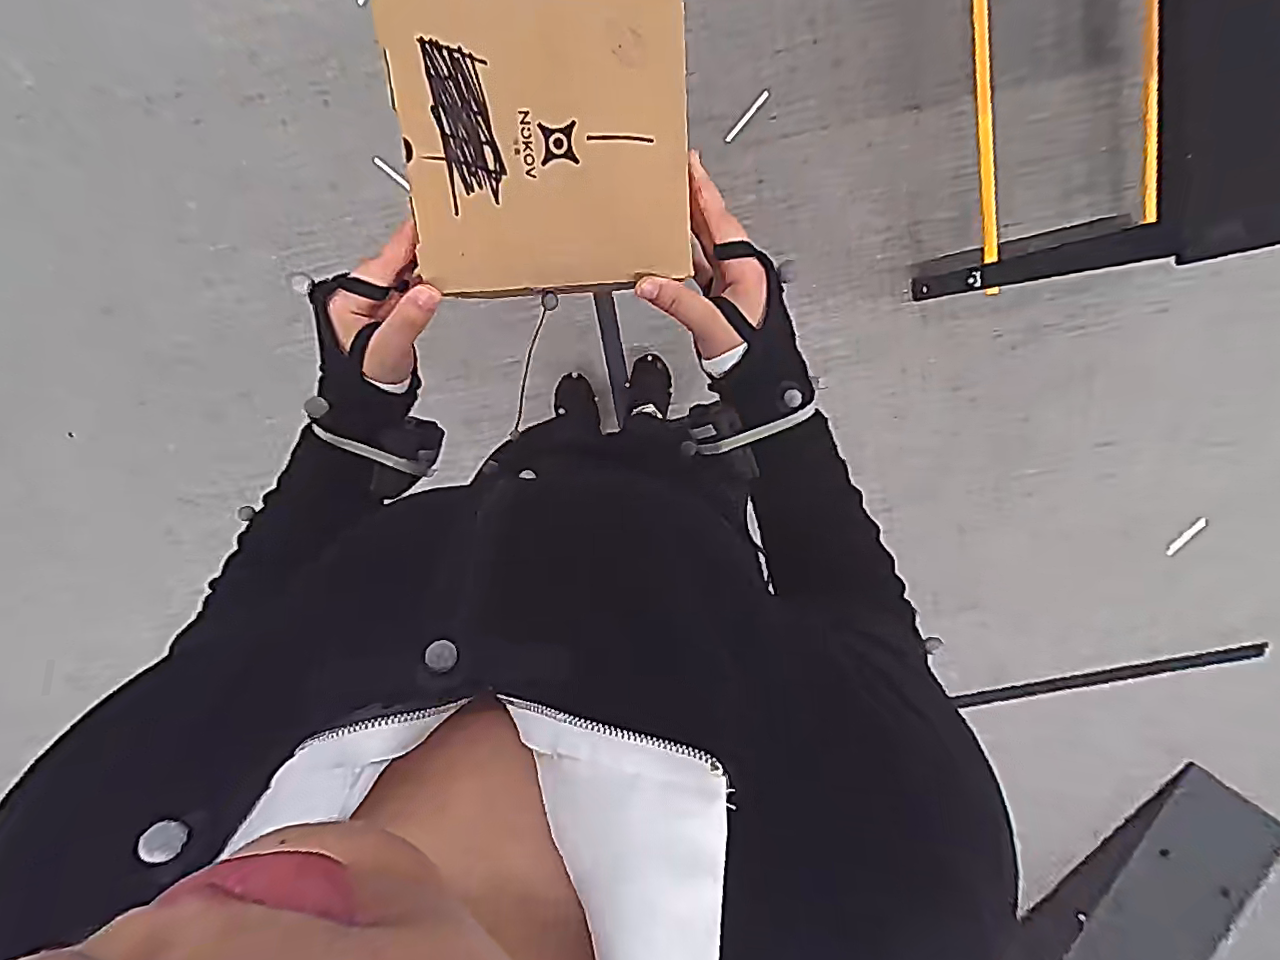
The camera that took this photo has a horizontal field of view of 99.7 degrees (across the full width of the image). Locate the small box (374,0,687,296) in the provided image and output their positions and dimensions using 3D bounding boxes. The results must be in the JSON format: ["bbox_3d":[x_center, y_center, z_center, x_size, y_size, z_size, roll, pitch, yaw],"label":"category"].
[{"bbox_3d":[-0.062,-0.230,0.404,0.179,0.176,0.168,-4,108,-1],"label":"small box"}]
